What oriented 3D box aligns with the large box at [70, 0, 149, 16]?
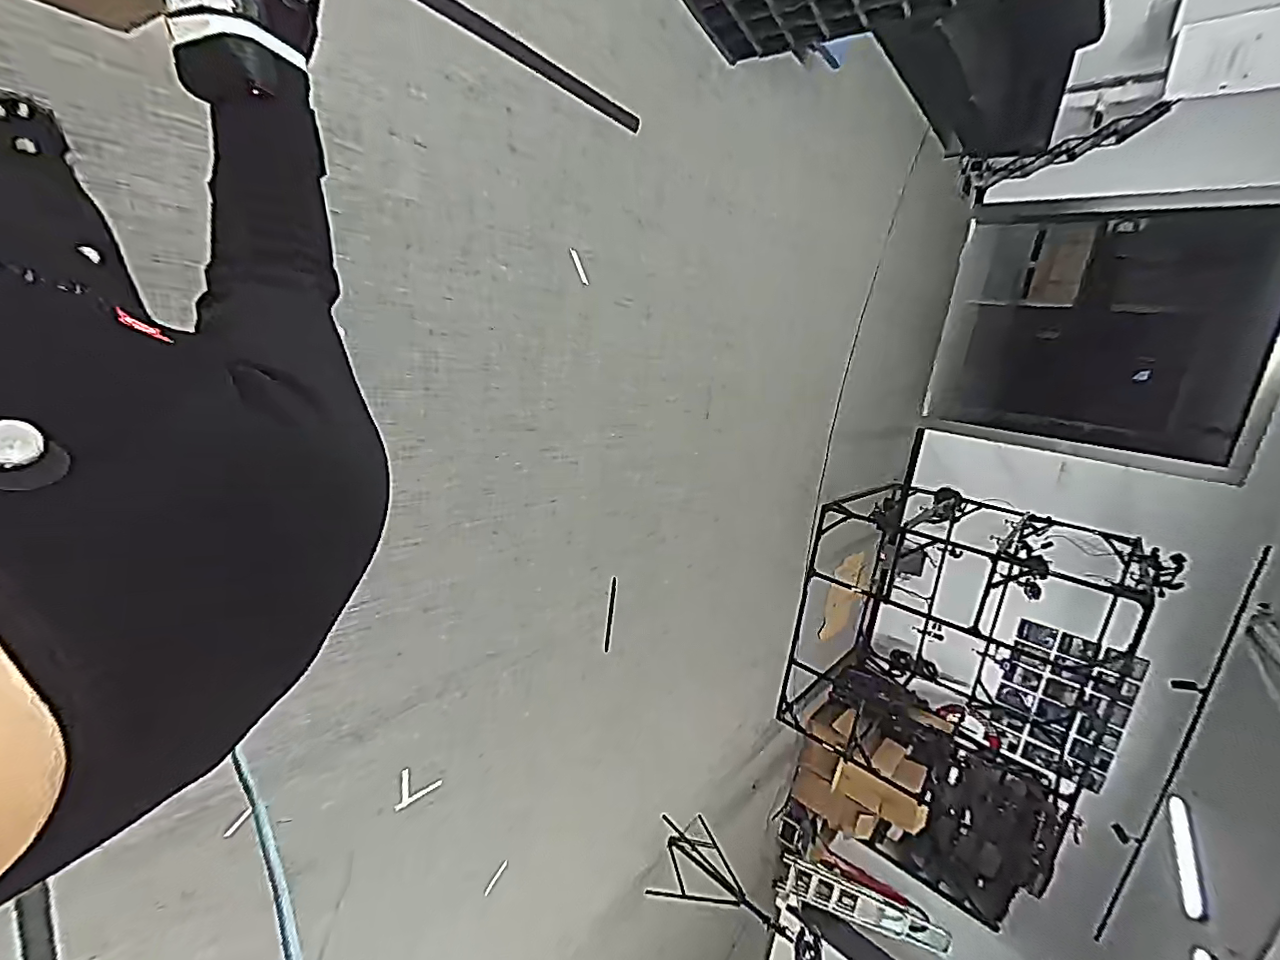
[{"bbox_3d":[-0.499,-0.514,0.254,0.408,0.320,0.320,-12,122,-50],"label":"large box"}]
